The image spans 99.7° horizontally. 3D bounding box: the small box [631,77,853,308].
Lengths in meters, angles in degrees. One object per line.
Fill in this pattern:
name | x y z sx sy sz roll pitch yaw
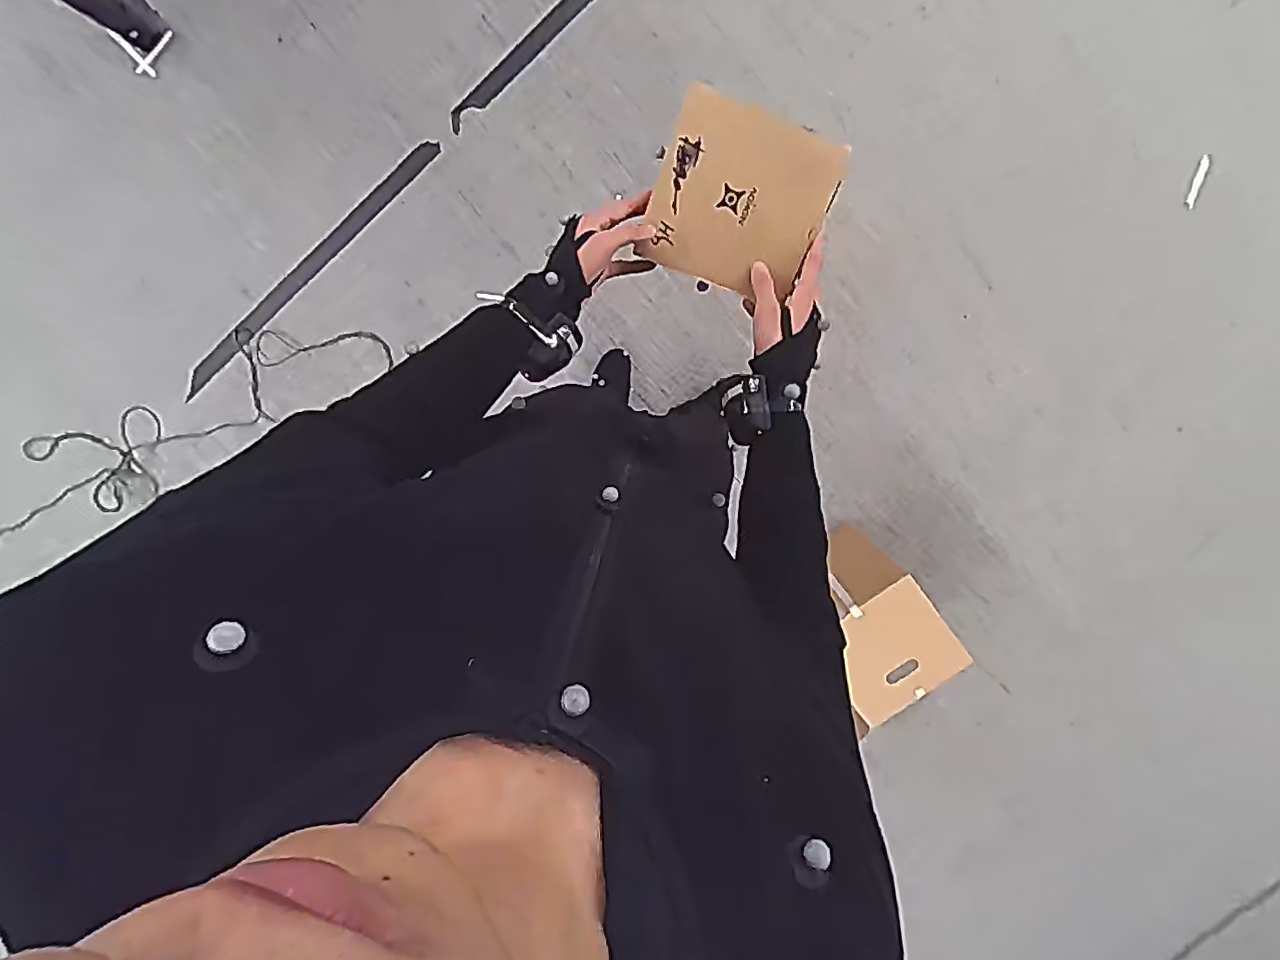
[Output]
small box | 0.105 -0.315 0.615 0.179 0.176 0.168 20 115 -3
